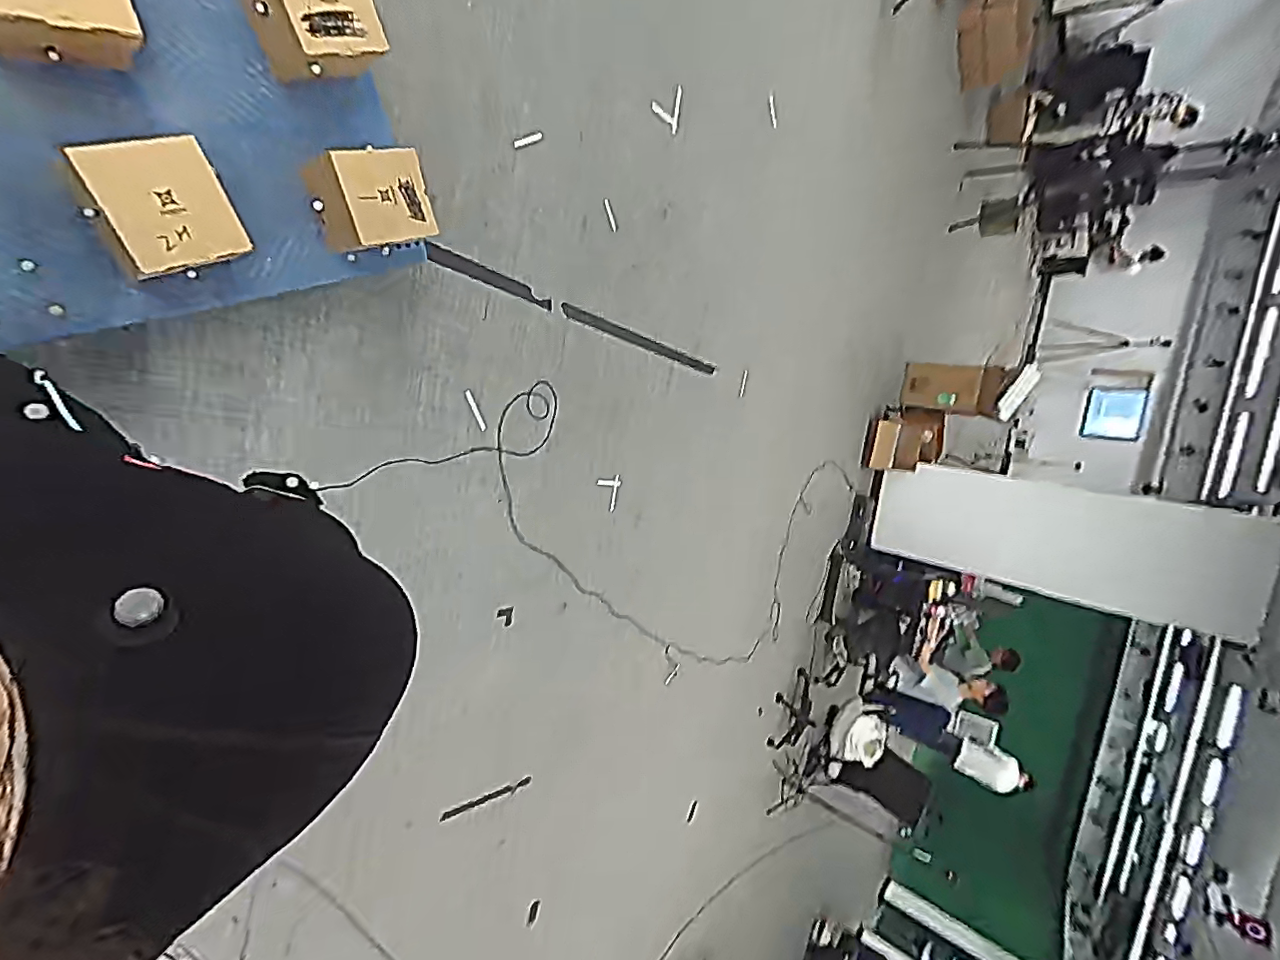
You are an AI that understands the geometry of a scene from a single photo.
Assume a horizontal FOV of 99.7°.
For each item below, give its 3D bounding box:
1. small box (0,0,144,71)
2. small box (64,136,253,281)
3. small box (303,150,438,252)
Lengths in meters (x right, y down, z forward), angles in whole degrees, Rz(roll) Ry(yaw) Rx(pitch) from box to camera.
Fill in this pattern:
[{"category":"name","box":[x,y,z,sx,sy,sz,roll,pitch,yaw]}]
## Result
[{"category":"small box","box":[-0.853,-0.715,0.760,0.168,0.176,0.179,-30,123,-41]},{"category":"small box","box":[-0.798,-0.444,0.898,0.168,0.176,0.179,-39,127,-37]},{"category":"small box","box":[-0.564,-0.583,1.136,0.179,0.176,0.168,-33,124,-39]}]
